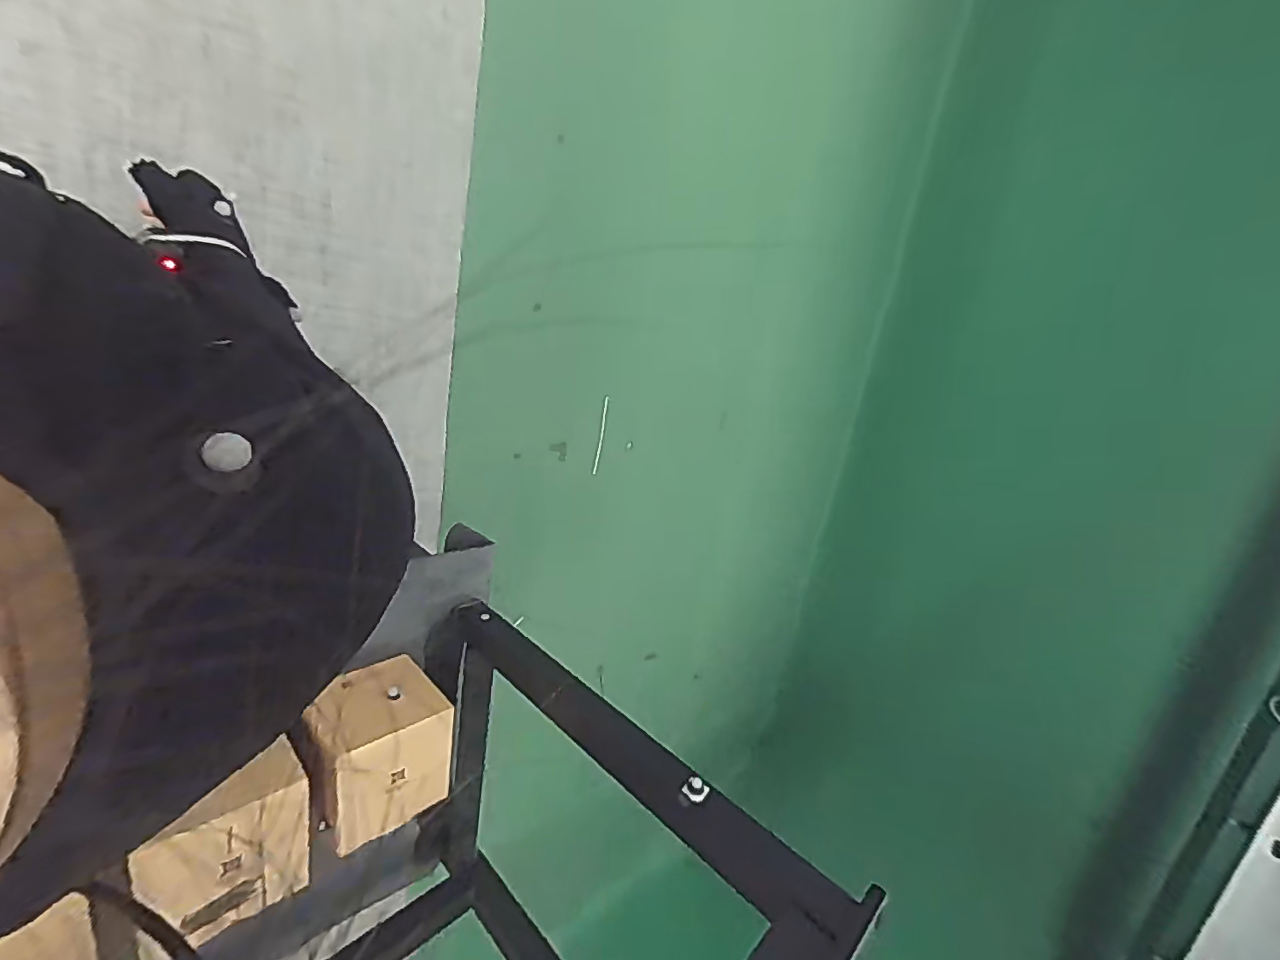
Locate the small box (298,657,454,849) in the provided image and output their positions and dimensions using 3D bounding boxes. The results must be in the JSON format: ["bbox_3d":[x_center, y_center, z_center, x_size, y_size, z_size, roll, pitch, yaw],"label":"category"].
[{"bbox_3d":[-0.405,0.396,0.826,0.168,0.176,0.179,-9,115,-46],"label":"small box"}]
